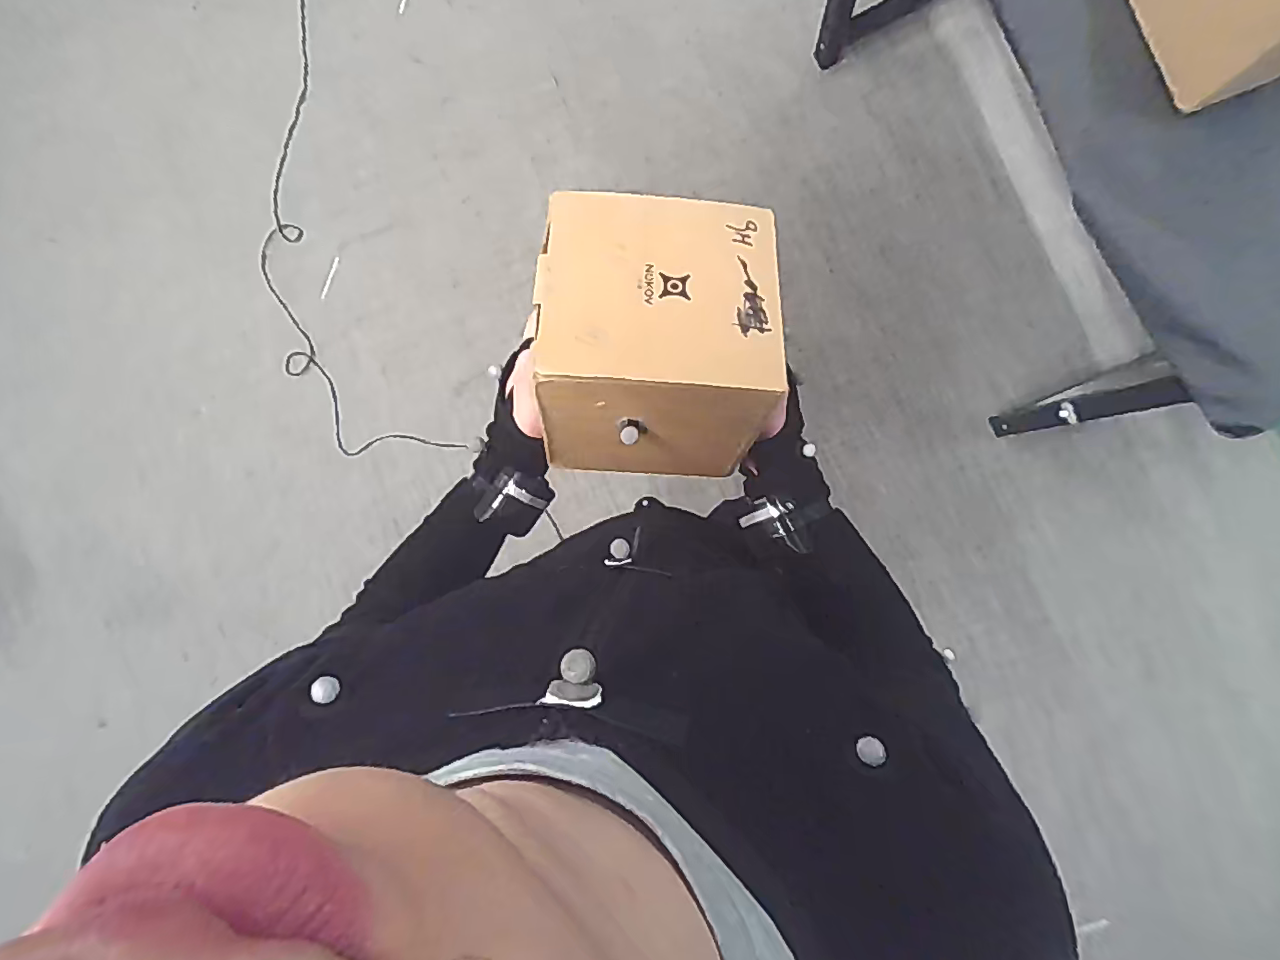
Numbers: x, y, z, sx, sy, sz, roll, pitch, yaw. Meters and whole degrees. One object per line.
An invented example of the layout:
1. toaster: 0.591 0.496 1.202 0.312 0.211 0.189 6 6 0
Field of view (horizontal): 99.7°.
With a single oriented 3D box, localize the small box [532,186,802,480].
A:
1. small box: 0.015 -0.107 0.446 0.179 0.176 0.168 3 68 -4
